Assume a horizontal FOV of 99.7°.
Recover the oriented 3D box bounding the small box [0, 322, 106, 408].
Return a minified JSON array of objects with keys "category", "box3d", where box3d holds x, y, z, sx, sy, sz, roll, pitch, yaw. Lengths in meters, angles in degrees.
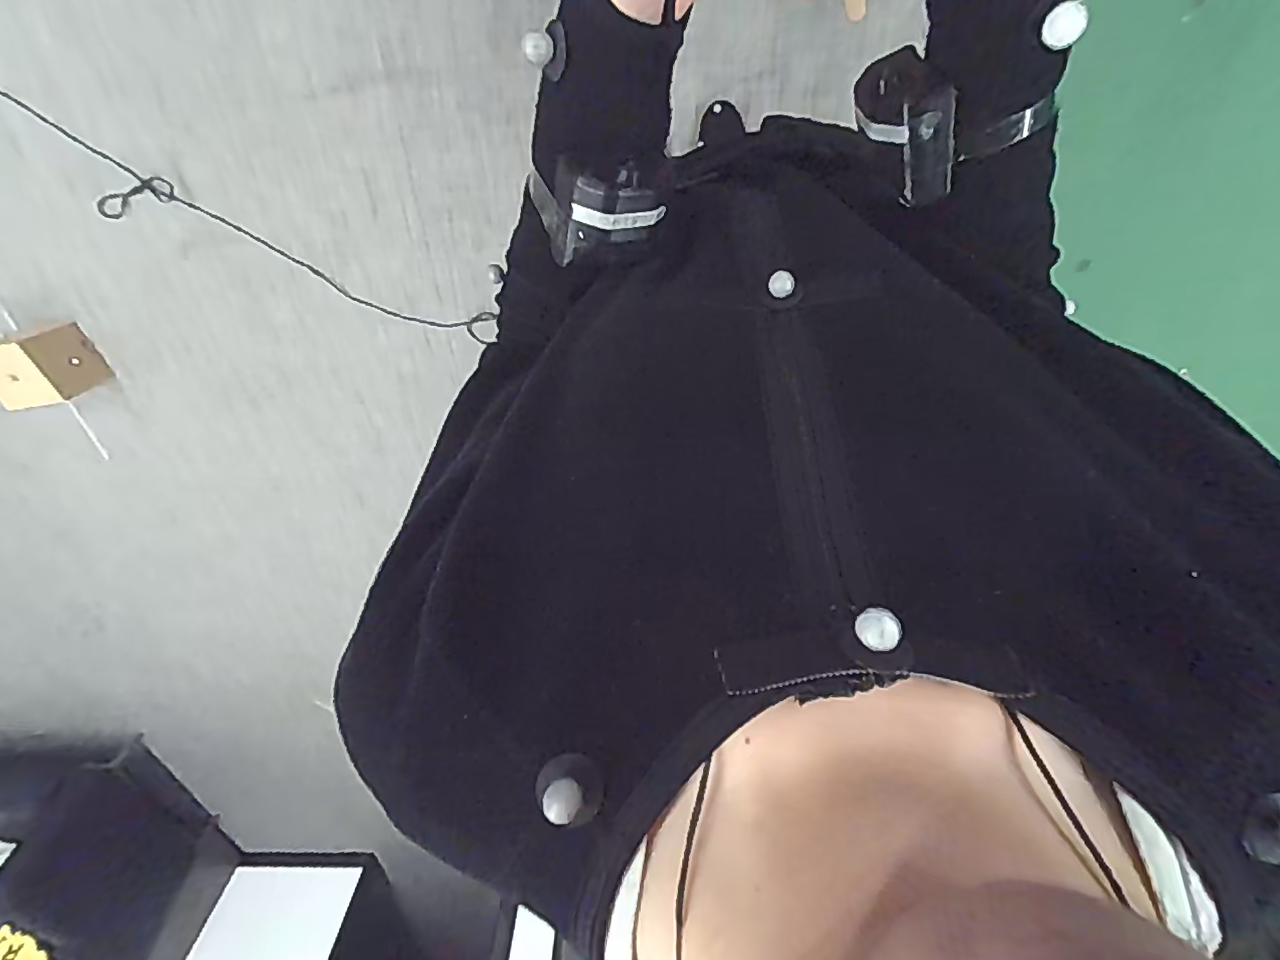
[{"category":"small box","box3d":[-1.595,-0.310,1.439,0.179,0.176,0.168,-6,124,6]}]
